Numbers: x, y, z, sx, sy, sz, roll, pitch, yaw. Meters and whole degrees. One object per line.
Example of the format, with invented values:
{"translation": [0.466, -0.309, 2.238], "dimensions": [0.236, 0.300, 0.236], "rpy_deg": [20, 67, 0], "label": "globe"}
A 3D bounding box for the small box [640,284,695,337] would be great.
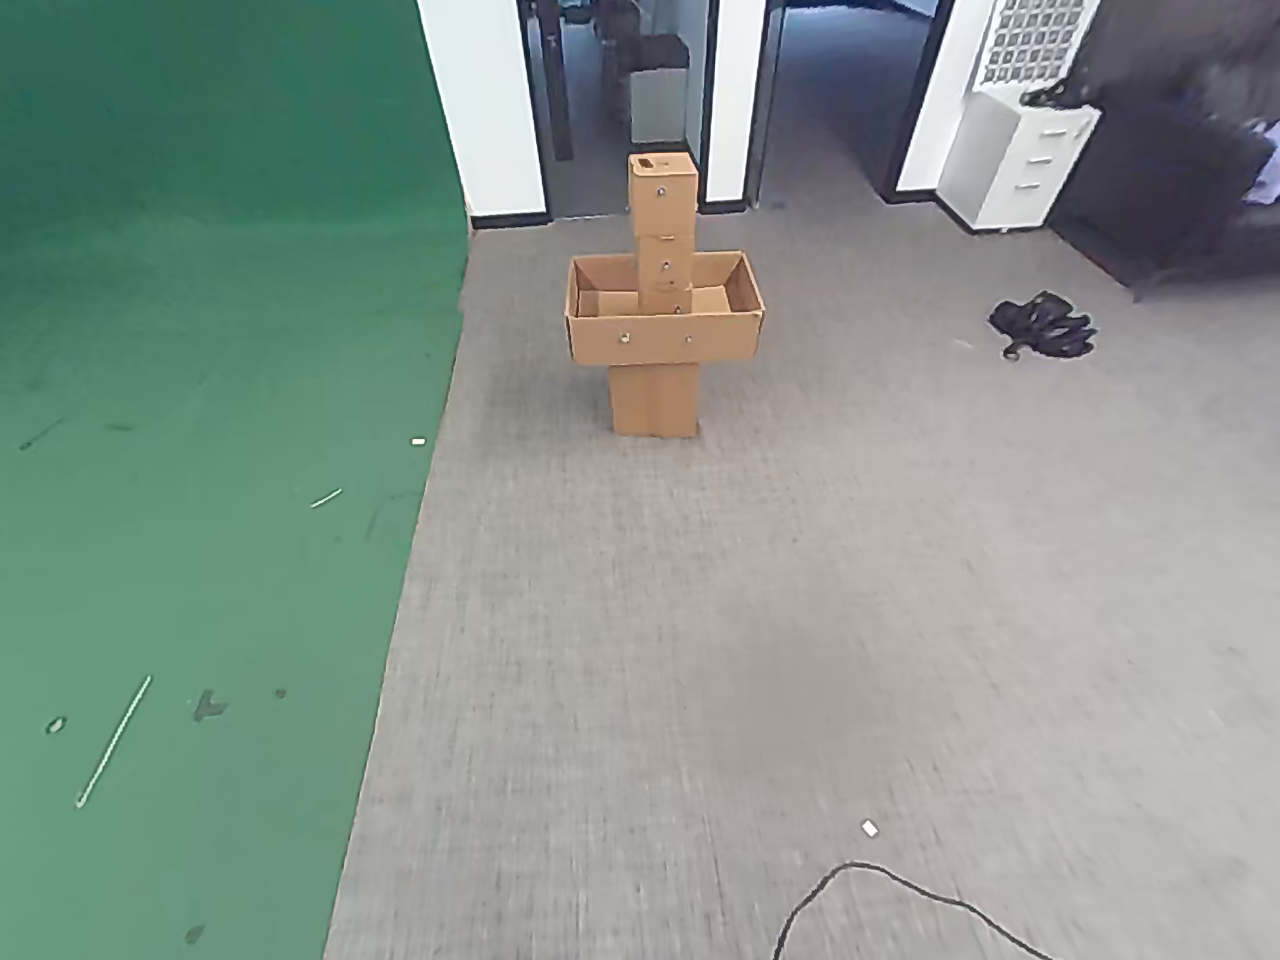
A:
{"translation": [0.090, -0.595, 1.819], "dimensions": [0.168, 0.176, 0.179], "rpy_deg": [-4, 47, -3], "label": "small box"}

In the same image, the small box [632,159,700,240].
{"translation": [0.072, -0.812, 1.572], "dimensions": [0.179, 0.176, 0.168], "rpy_deg": [-4, 49, -4], "label": "small box"}

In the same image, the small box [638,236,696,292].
{"translation": [0.081, -0.705, 1.698], "dimensions": [0.168, 0.176, 0.179], "rpy_deg": [-4, 49, -3], "label": "small box"}
